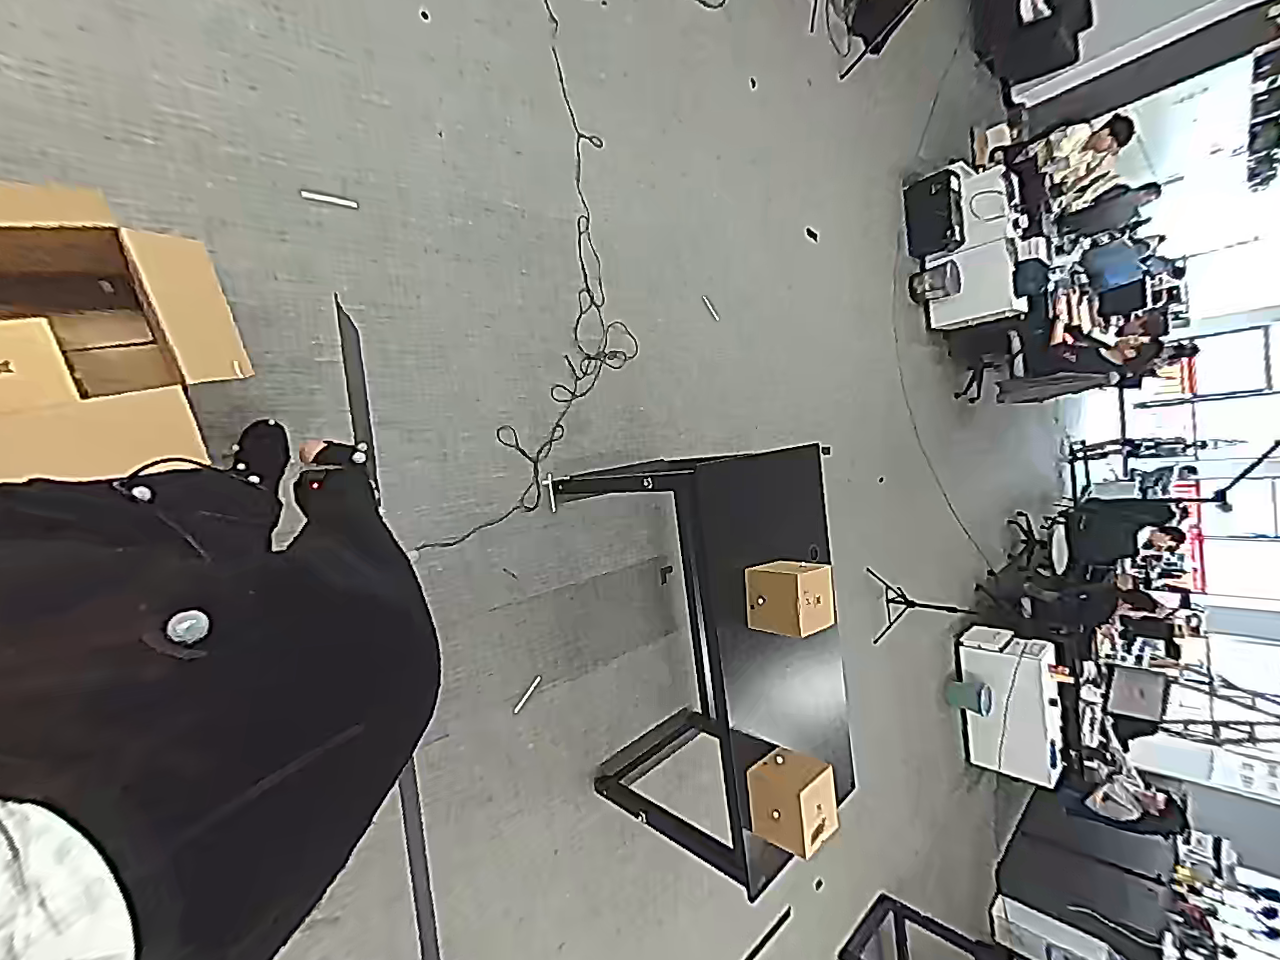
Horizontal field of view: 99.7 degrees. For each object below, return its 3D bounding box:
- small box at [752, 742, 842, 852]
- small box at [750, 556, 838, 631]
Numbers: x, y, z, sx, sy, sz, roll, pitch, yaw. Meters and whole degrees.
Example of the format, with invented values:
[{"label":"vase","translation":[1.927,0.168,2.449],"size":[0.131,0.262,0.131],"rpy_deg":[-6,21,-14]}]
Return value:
[{"label":"small box","translation":[0.425,0.848,1.467],"size":[0.168,0.176,0.179],"rpy_deg":[-8,92,-42]},{"label":"small box","translation":[0.424,0.305,1.493],"size":[0.179,0.176,0.168],"rpy_deg":[-3,90,-41]}]
